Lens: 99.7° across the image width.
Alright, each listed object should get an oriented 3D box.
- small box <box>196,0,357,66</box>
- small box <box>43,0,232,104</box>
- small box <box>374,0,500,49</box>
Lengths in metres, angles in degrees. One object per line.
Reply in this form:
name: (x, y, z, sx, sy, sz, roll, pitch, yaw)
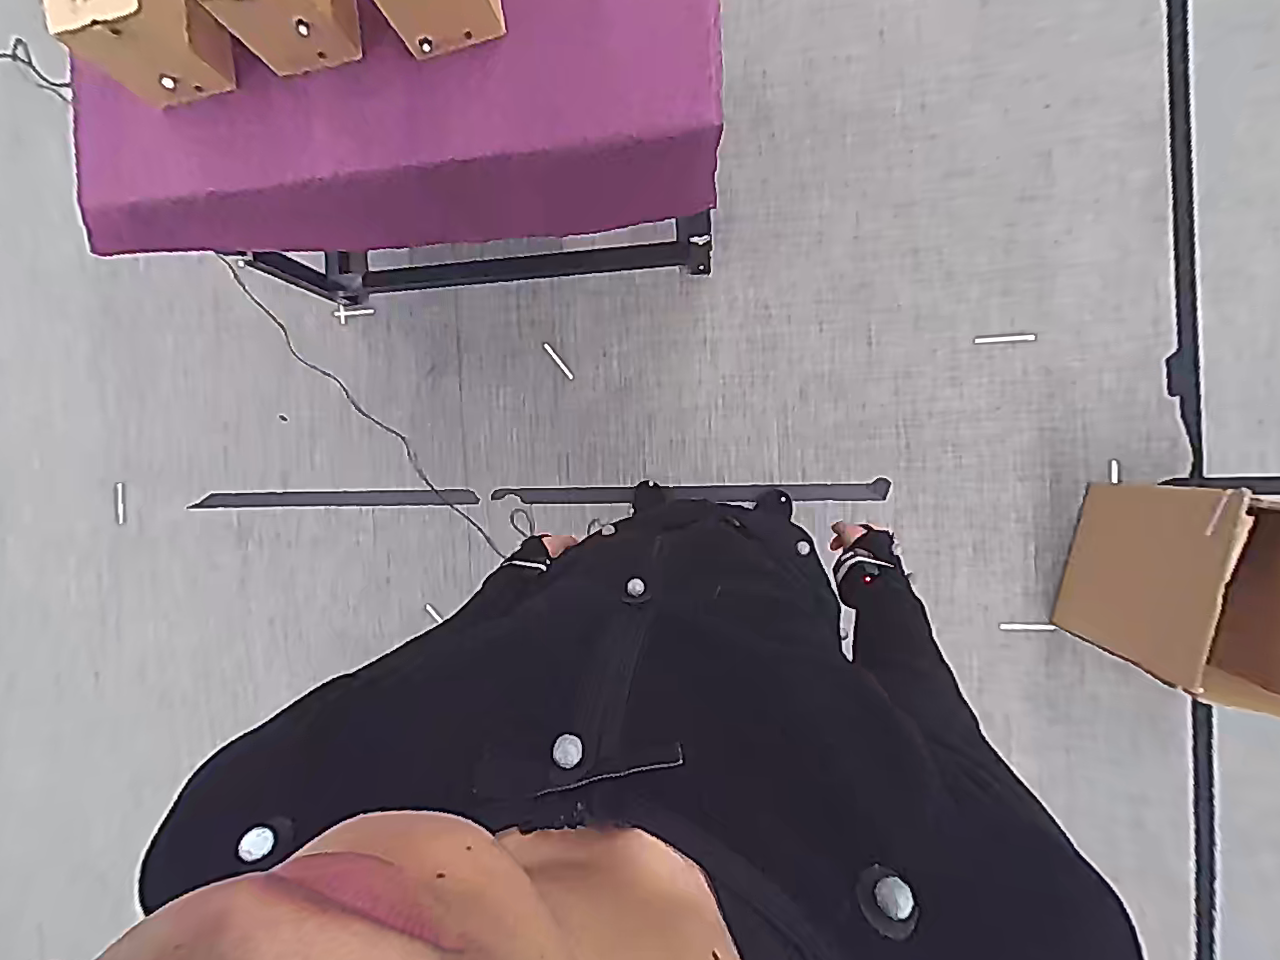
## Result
small box: (-0.584, -0.812, 0.873, 0.168, 0.176, 0.179, -5, 90, 7)
small box: (-0.831, -0.782, 0.904, 0.168, 0.176, 0.179, -6, 91, 8)
small box: (-0.333, -0.819, 0.837, 0.168, 0.176, 0.179, -10, 89, 8)
